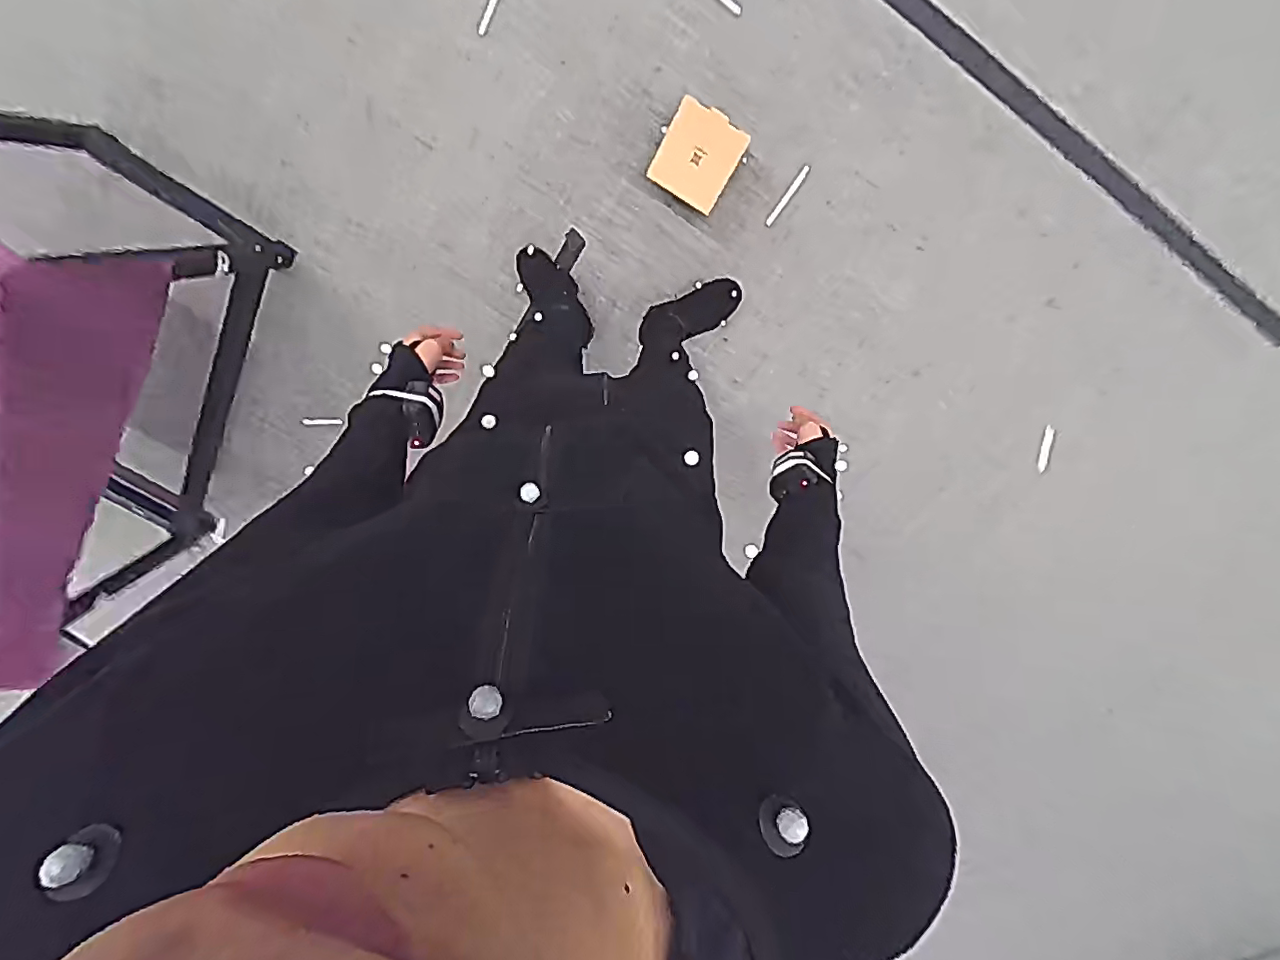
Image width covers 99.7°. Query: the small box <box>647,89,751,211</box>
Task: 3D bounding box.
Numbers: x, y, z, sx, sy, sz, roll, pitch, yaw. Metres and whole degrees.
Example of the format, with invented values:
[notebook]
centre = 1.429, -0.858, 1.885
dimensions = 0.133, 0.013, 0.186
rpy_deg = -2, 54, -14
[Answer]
[small box]
centre = 0.135, -0.742, 1.237
dimensions = 0.168, 0.176, 0.179
rpy_deg = 29, 116, -8
